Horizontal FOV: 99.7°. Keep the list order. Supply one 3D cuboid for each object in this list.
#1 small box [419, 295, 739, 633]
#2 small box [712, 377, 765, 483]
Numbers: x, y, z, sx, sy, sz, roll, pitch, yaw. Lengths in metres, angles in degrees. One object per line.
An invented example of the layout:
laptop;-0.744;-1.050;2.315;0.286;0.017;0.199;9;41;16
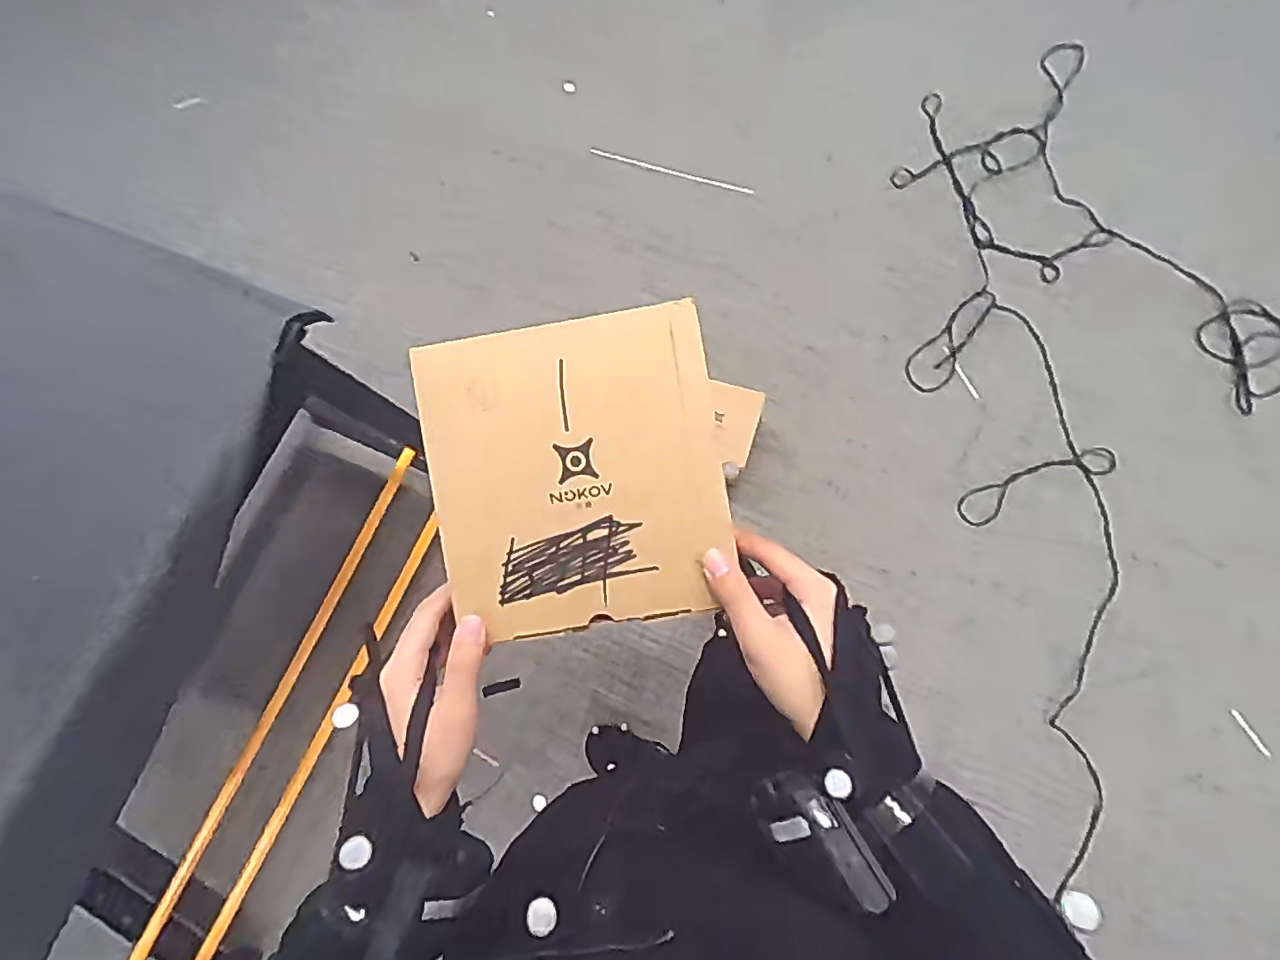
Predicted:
small box;-0.031;-0.009;0.386;0.168;0.176;0.179;-9;90;2
small box;0.167;-0.111;1.201;0.168;0.176;0.179;16;80;10
